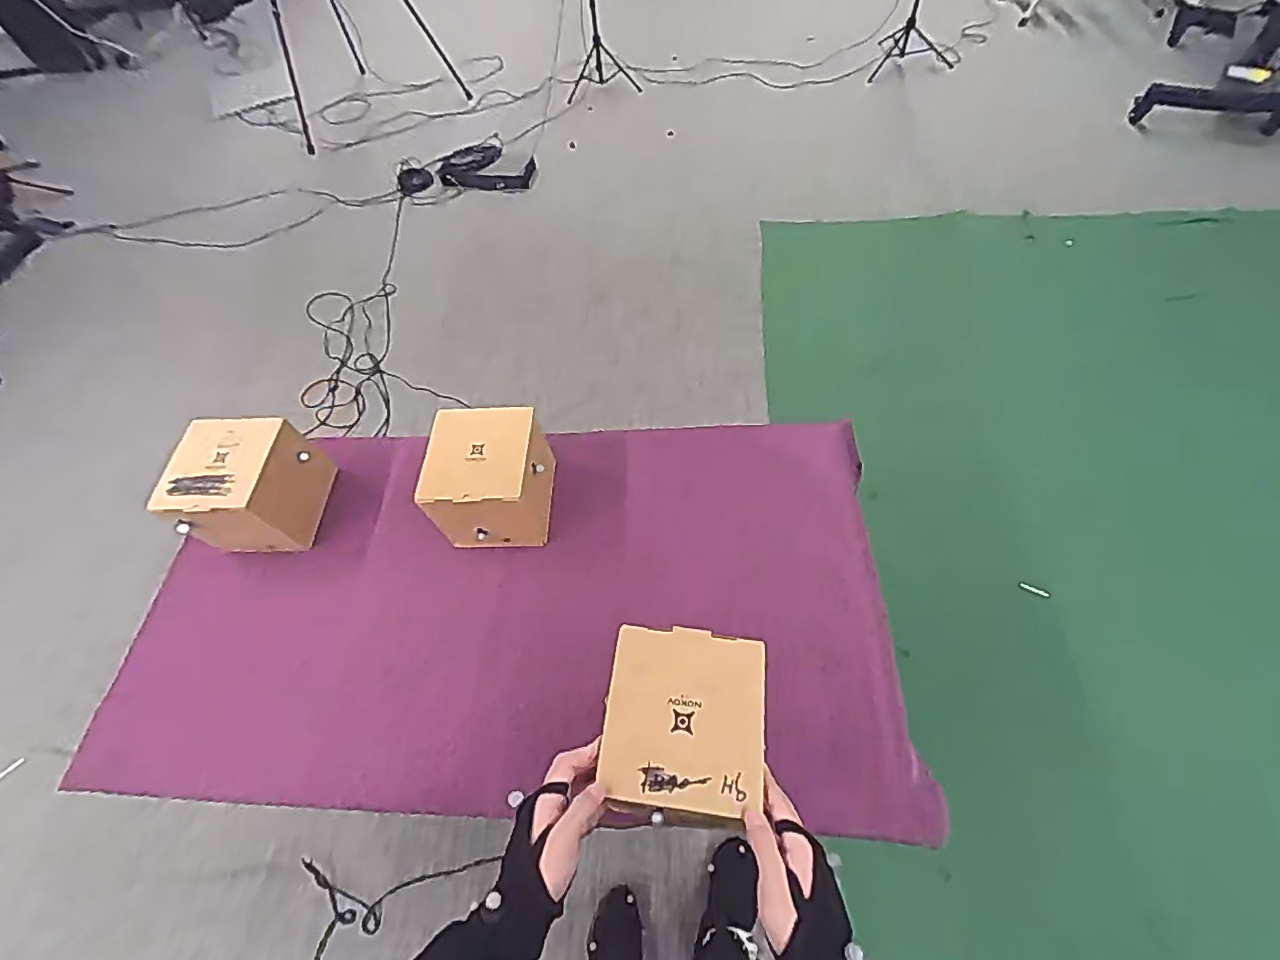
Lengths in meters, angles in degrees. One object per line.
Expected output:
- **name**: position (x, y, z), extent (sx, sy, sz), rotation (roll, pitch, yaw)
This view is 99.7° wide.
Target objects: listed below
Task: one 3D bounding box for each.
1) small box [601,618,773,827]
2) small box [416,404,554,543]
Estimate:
- **small box**: position (0.057, 0.282, 0.624), extent (0.168, 0.176, 0.179), rotation (5, 55, 7)
- **small box**: position (-0.245, -0.009, 0.908), extent (0.168, 0.176, 0.179), rotation (-1, 60, 4)
